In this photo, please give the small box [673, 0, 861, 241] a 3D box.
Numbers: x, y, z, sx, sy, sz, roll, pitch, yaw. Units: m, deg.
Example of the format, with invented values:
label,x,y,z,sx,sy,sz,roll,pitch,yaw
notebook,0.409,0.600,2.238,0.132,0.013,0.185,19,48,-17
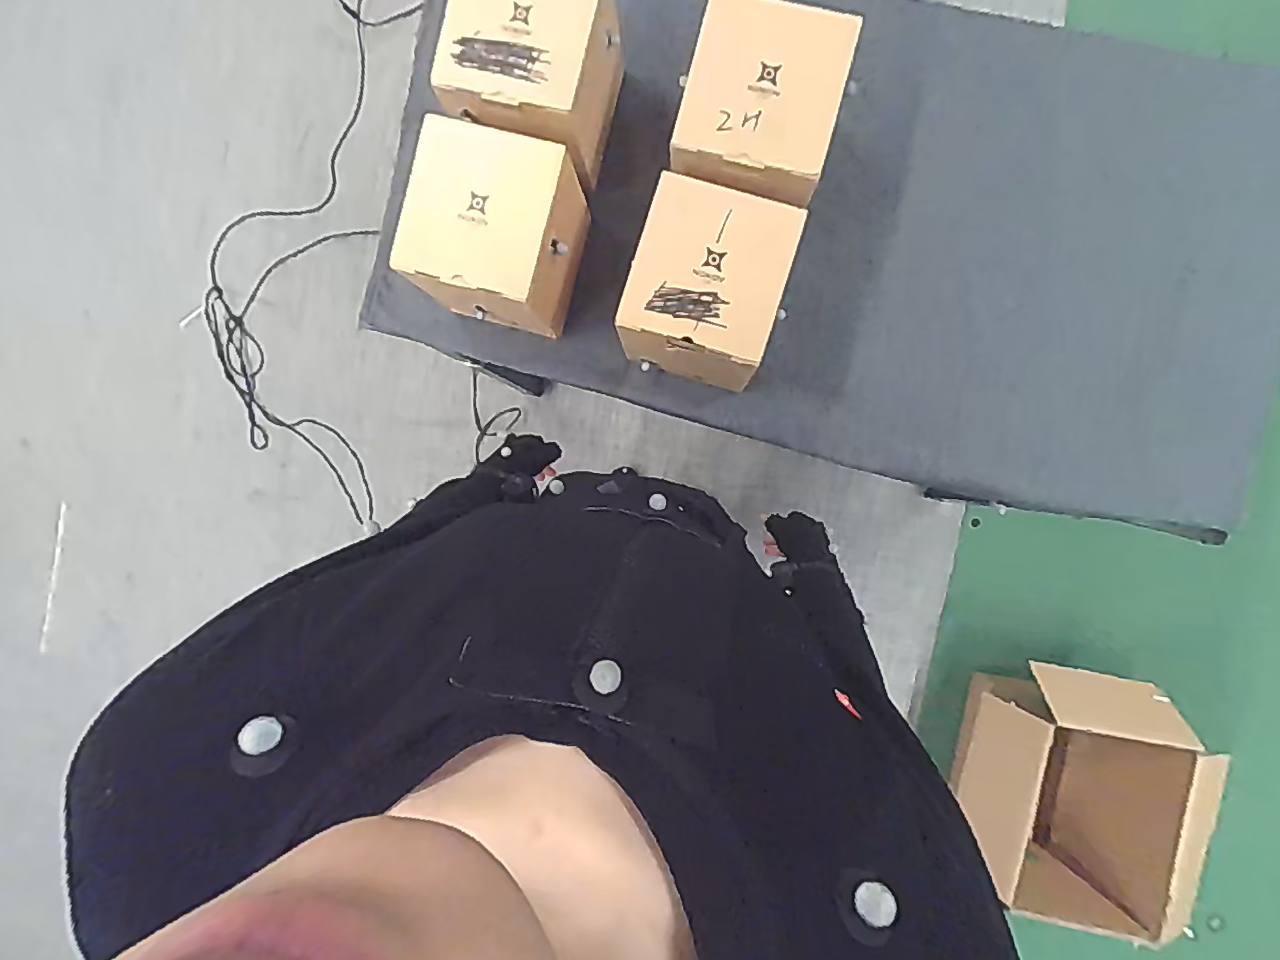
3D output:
label,x,y,z,sx,sy,sz,roll,pitch,yaw
small box,0.139,-0.425,0.655,0.168,0.176,0.179,15,92,4
